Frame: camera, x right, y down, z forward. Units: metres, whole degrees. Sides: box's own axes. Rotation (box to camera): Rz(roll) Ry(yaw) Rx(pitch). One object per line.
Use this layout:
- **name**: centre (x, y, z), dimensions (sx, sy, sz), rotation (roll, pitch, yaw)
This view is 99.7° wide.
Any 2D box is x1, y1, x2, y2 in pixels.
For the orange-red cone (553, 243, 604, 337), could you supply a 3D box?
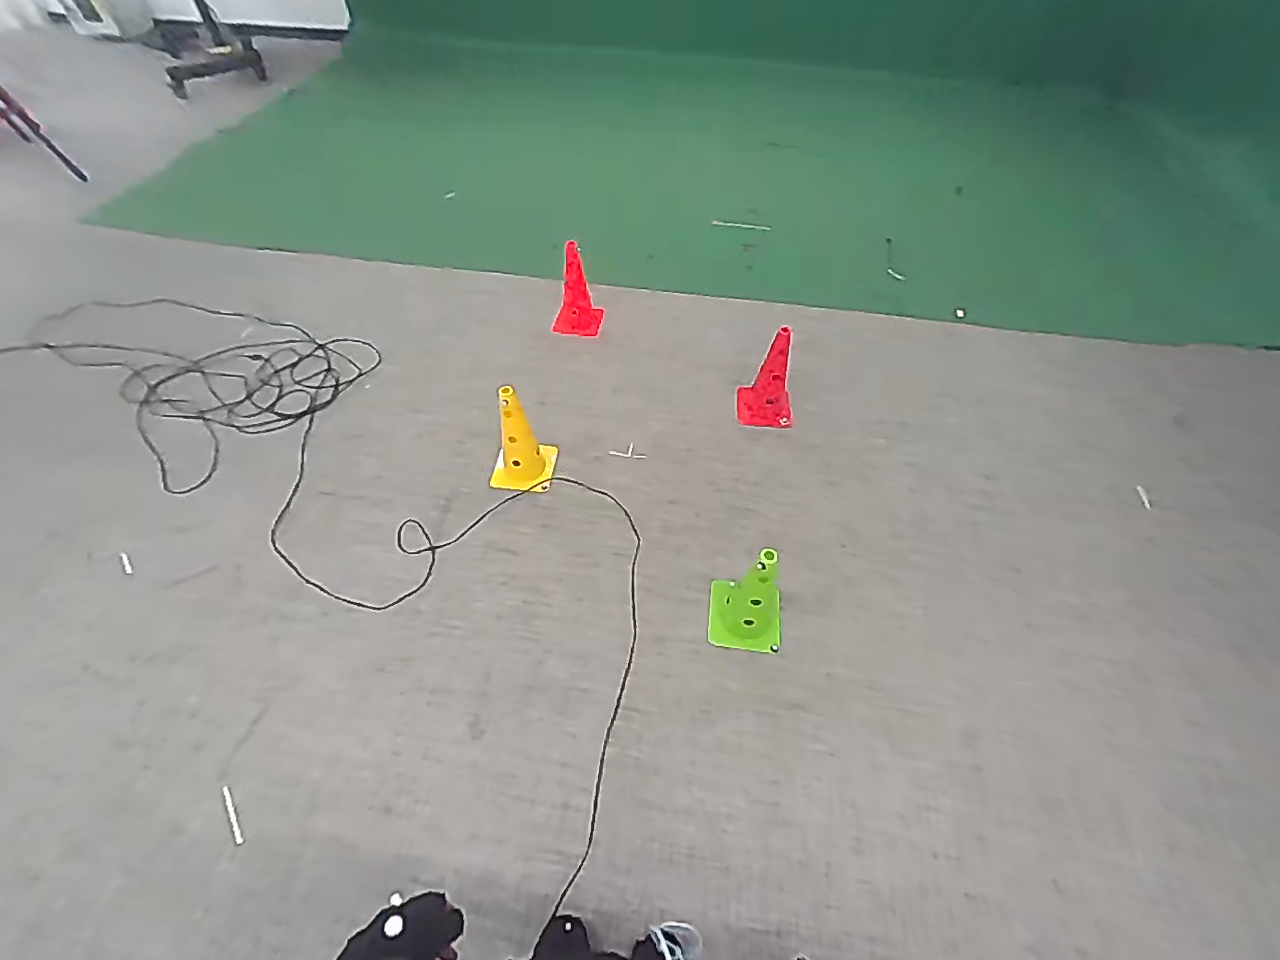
- **orange-red cone**: centre (-0.267, -0.792, 2.213), dimensions (0.198, 0.360, 0.199), rotation (7, 54, 6)

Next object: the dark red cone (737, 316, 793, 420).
- **dark red cone**: centre (0.467, -0.396, 1.893), dimensions (0.202, 0.394, 0.201), rotation (3, 52, 2)

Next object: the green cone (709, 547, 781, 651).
- **green cone**: centre (0.300, 0.279, 1.409), dimensions (0.202, 0.368, 0.200), rotation (6, 52, 5)
